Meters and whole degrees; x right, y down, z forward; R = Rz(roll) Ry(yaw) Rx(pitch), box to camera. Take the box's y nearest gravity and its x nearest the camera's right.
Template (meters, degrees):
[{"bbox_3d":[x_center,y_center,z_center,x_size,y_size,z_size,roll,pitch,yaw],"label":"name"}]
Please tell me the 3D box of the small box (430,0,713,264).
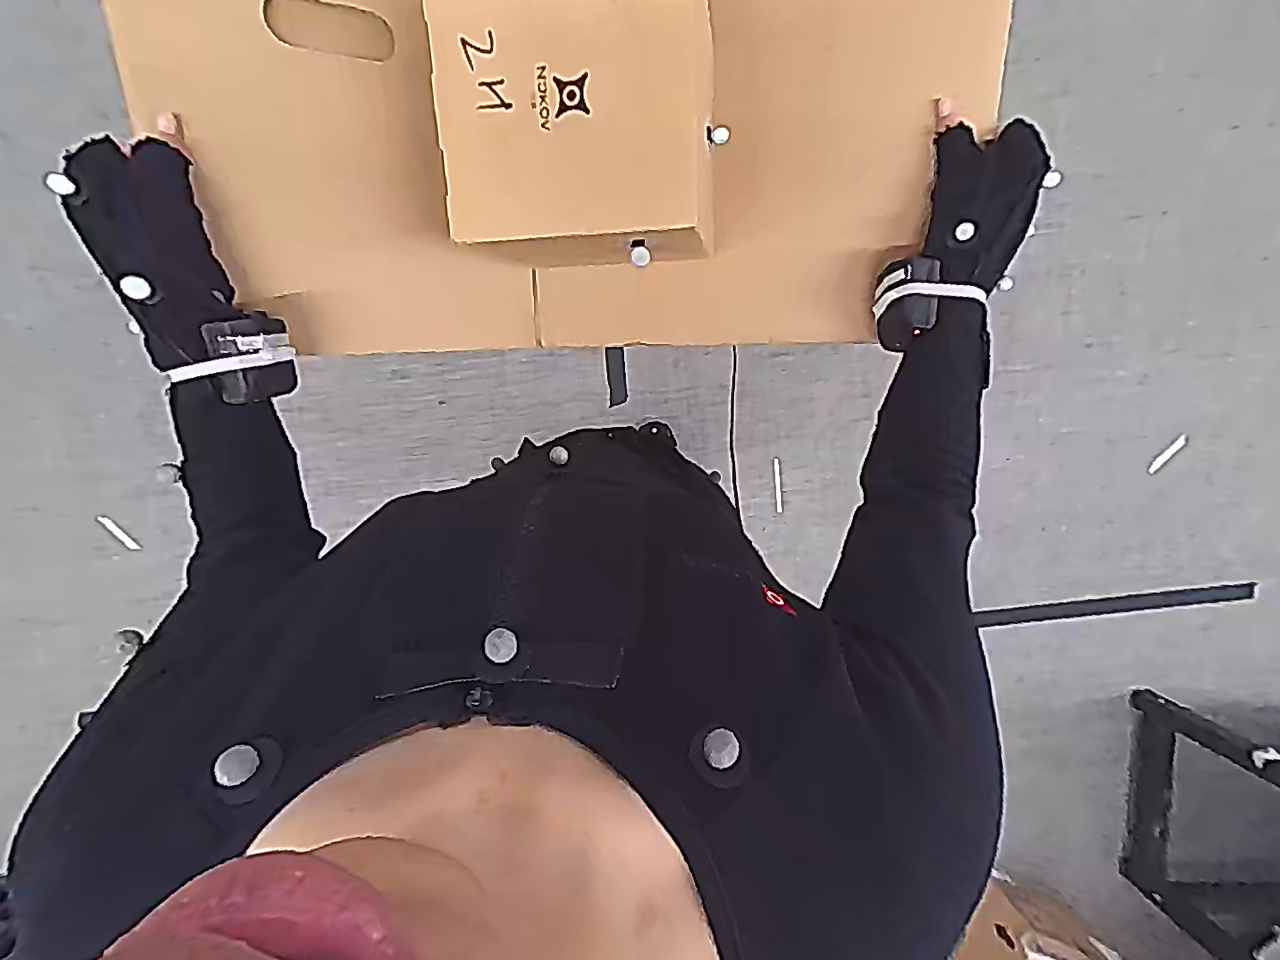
[{"bbox_3d":[-0.035,-0.269,0.427,0.179,0.176,0.168,2,106,12],"label":"small box"}]
